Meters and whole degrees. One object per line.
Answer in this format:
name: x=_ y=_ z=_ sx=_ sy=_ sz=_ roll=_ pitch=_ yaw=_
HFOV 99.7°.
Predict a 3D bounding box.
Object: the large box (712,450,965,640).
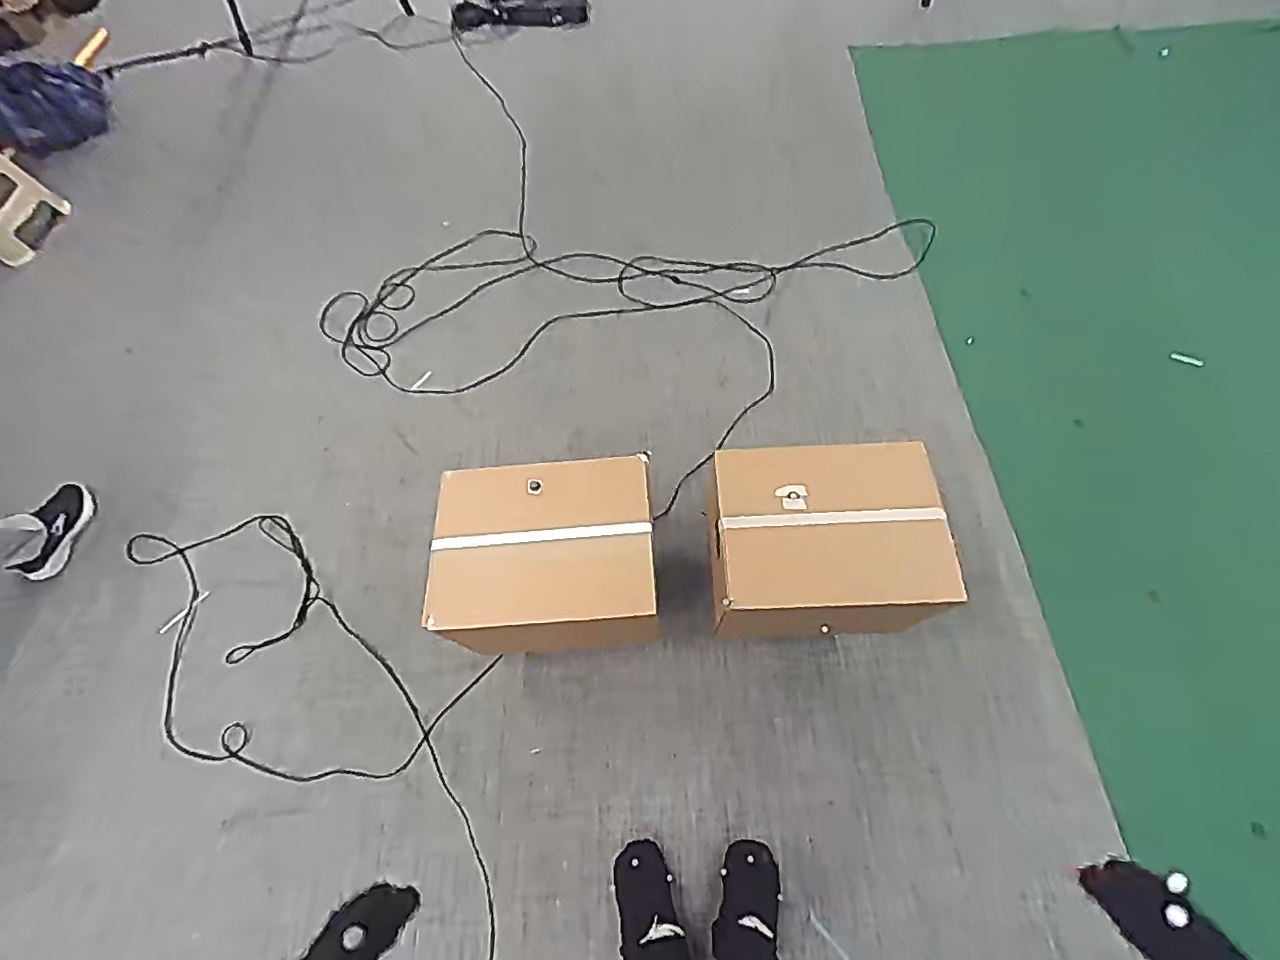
large box: x=0.369 y=0.152 z=1.133 sx=0.408 sy=0.320 sz=0.320 roll=-3 pitch=64 yaw=3
